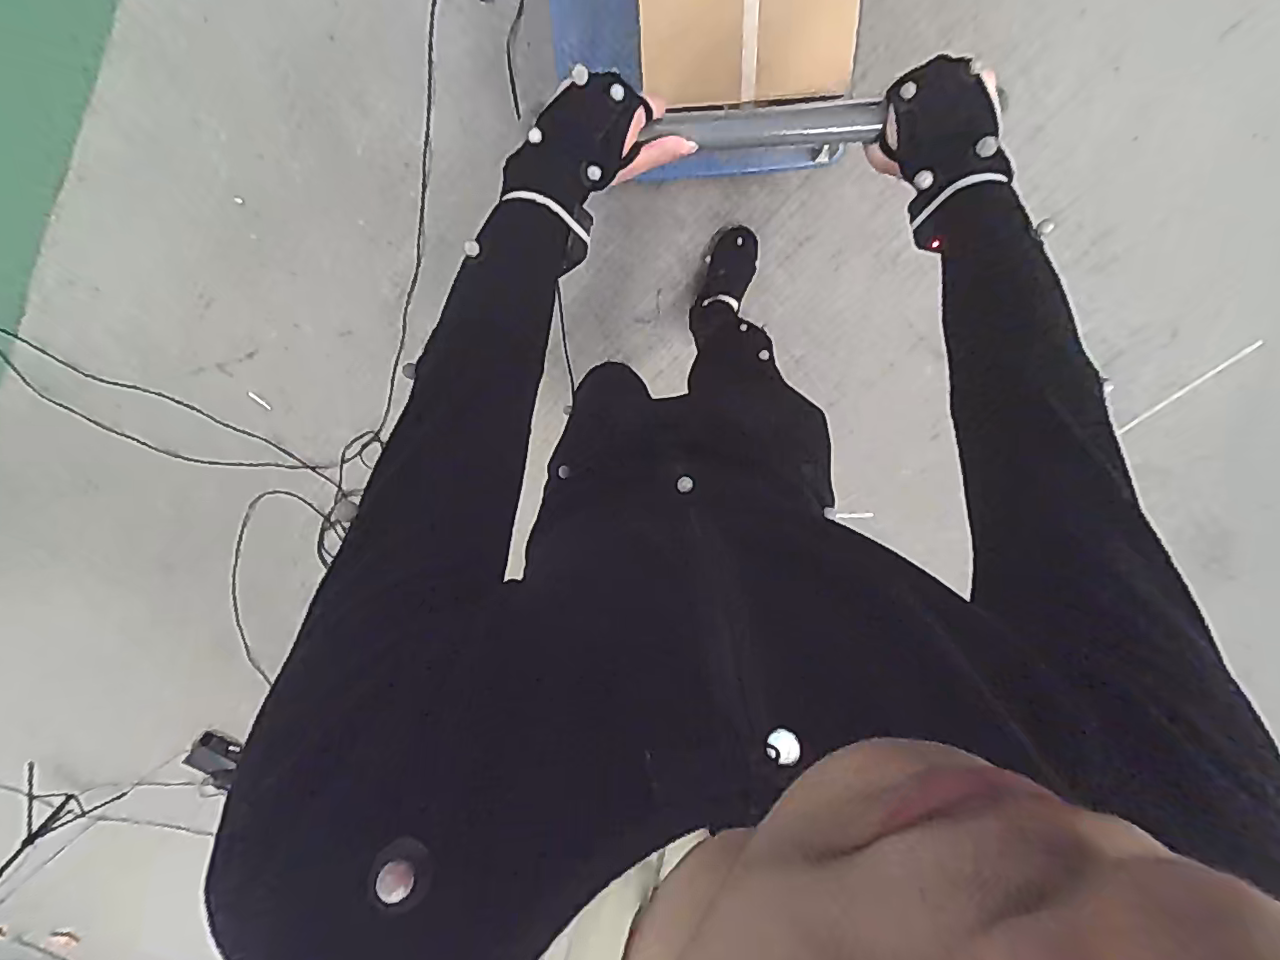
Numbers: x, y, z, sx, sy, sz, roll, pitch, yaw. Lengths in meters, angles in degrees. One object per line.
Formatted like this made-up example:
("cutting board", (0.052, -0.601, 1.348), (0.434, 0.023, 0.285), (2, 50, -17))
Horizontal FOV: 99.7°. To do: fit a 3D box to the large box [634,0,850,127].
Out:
("large box", (0.149, -0.833, 0.876), (0.320, 0.320, 0.408), (-2, 119, 3))
